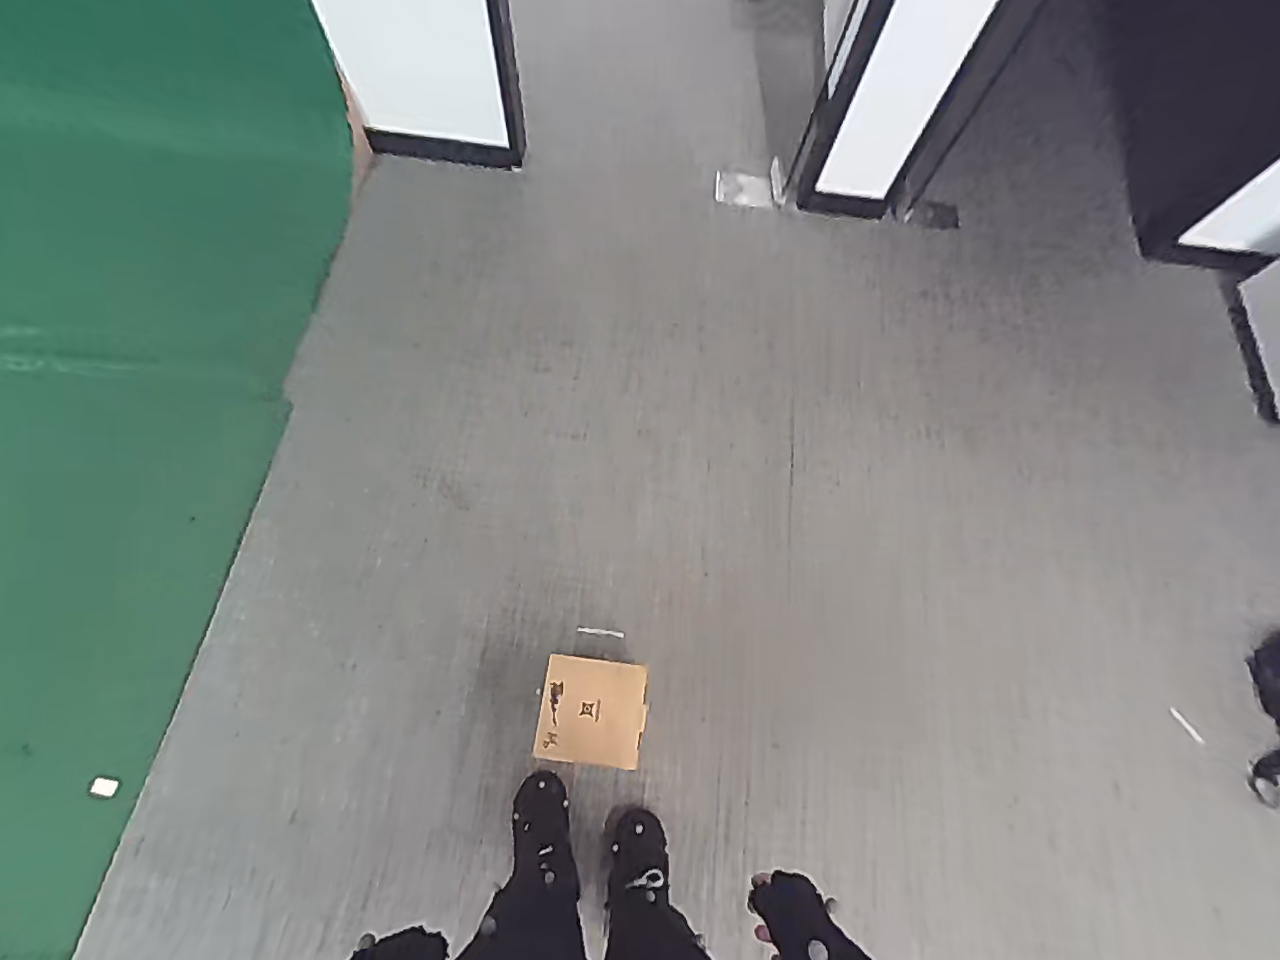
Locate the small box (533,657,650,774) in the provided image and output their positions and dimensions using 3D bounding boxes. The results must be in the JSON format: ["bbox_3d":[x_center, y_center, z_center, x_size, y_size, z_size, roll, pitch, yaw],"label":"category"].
[{"bbox_3d":[-0.086,0.425,0.991,0.179,0.176,0.168,9,68,-1],"label":"small box"}]
